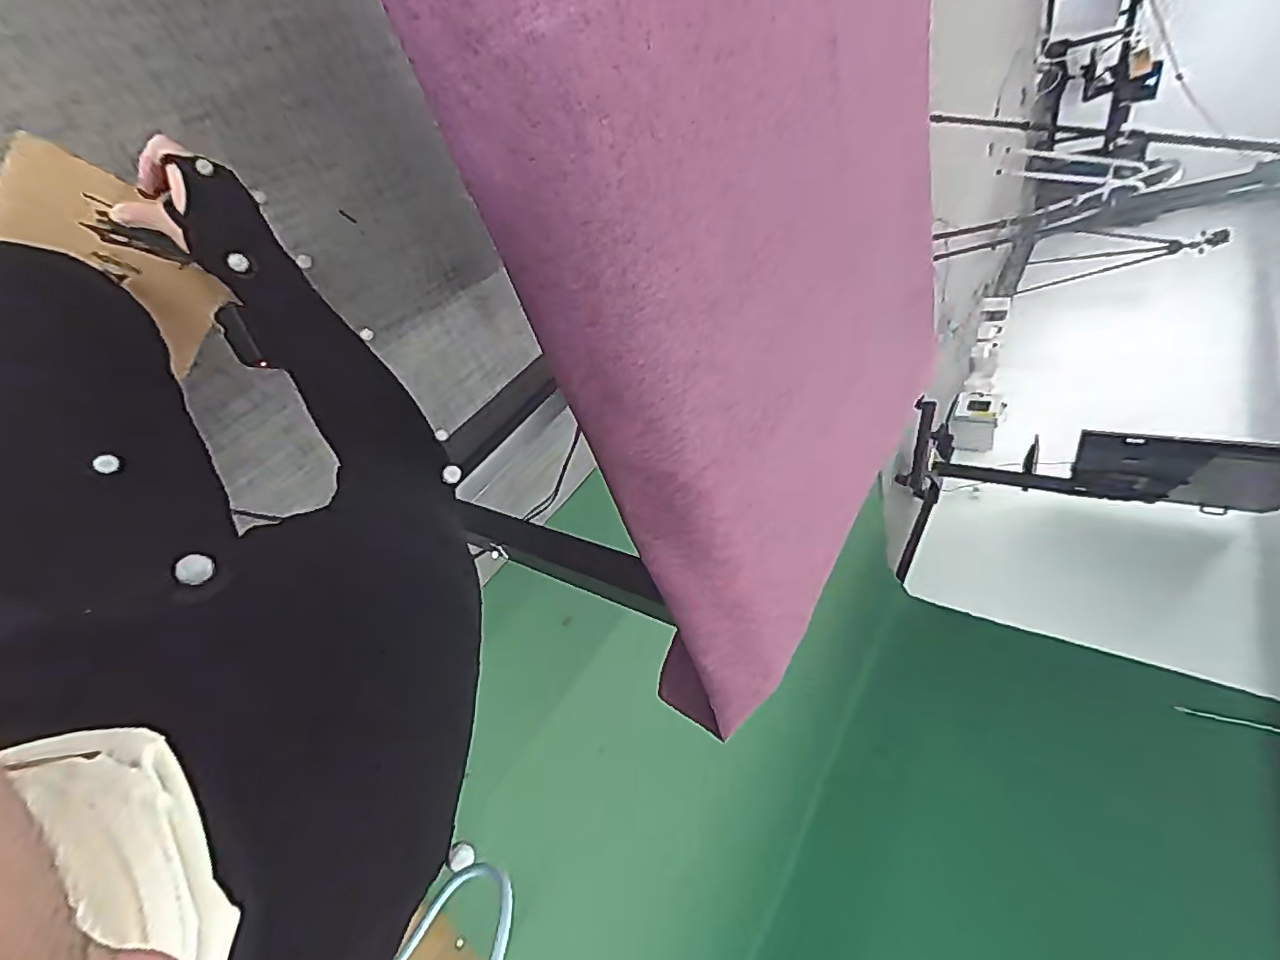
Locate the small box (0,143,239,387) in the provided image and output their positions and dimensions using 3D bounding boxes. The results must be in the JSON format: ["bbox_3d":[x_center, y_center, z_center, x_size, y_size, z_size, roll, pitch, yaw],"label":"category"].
[{"bbox_3d":[-0.580,-0.216,0.586,0.168,0.176,0.179,20,85,-51],"label":"small box"}]

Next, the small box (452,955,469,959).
[{"bbox_3d":[-0.314,1.027,0.988,0.179,0.176,0.168,-51,135,-31],"label":"small box"}]

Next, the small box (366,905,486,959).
[{"bbox_3d":[-0.442,1.006,1.089,0.168,0.176,0.179,-51,136,-31],"label":"small box"}]
